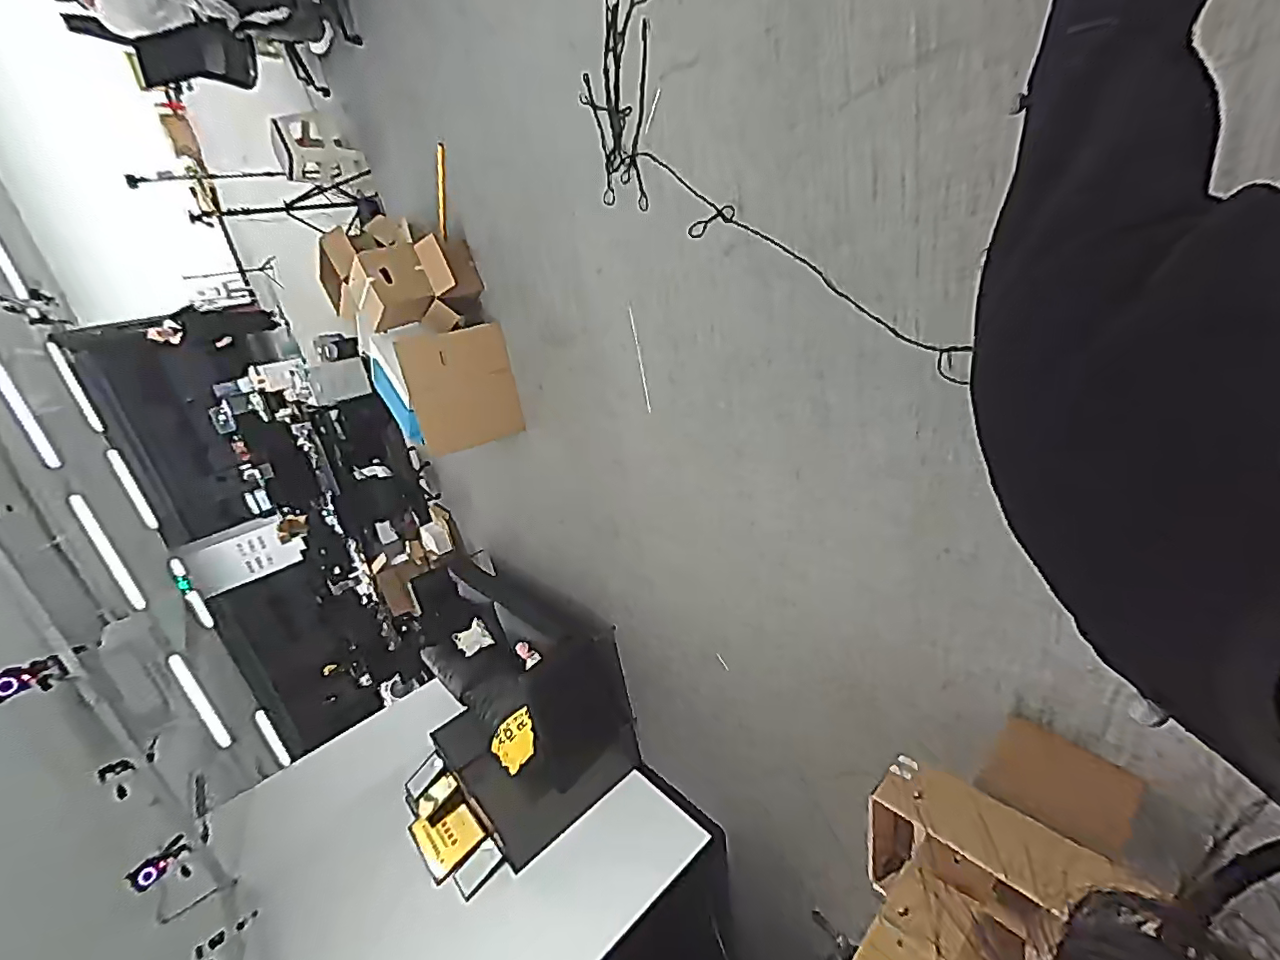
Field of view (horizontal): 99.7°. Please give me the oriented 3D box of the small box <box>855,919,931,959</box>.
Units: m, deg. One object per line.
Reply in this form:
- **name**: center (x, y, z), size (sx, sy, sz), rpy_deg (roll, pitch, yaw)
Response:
- **small box**: center (0.572, 1.148, 1.206), size (0.168, 0.176, 0.179), rpy_deg (14, 123, 46)

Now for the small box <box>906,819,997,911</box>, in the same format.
- **small box**: center (0.803, 1.041, 1.412), size (0.168, 0.176, 0.179), rpy_deg (26, 130, 40)

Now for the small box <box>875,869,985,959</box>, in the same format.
- **small box**: center (0.693, 1.084, 1.292), size (0.179, 0.176, 0.168), rpy_deg (4, 115, 50)
